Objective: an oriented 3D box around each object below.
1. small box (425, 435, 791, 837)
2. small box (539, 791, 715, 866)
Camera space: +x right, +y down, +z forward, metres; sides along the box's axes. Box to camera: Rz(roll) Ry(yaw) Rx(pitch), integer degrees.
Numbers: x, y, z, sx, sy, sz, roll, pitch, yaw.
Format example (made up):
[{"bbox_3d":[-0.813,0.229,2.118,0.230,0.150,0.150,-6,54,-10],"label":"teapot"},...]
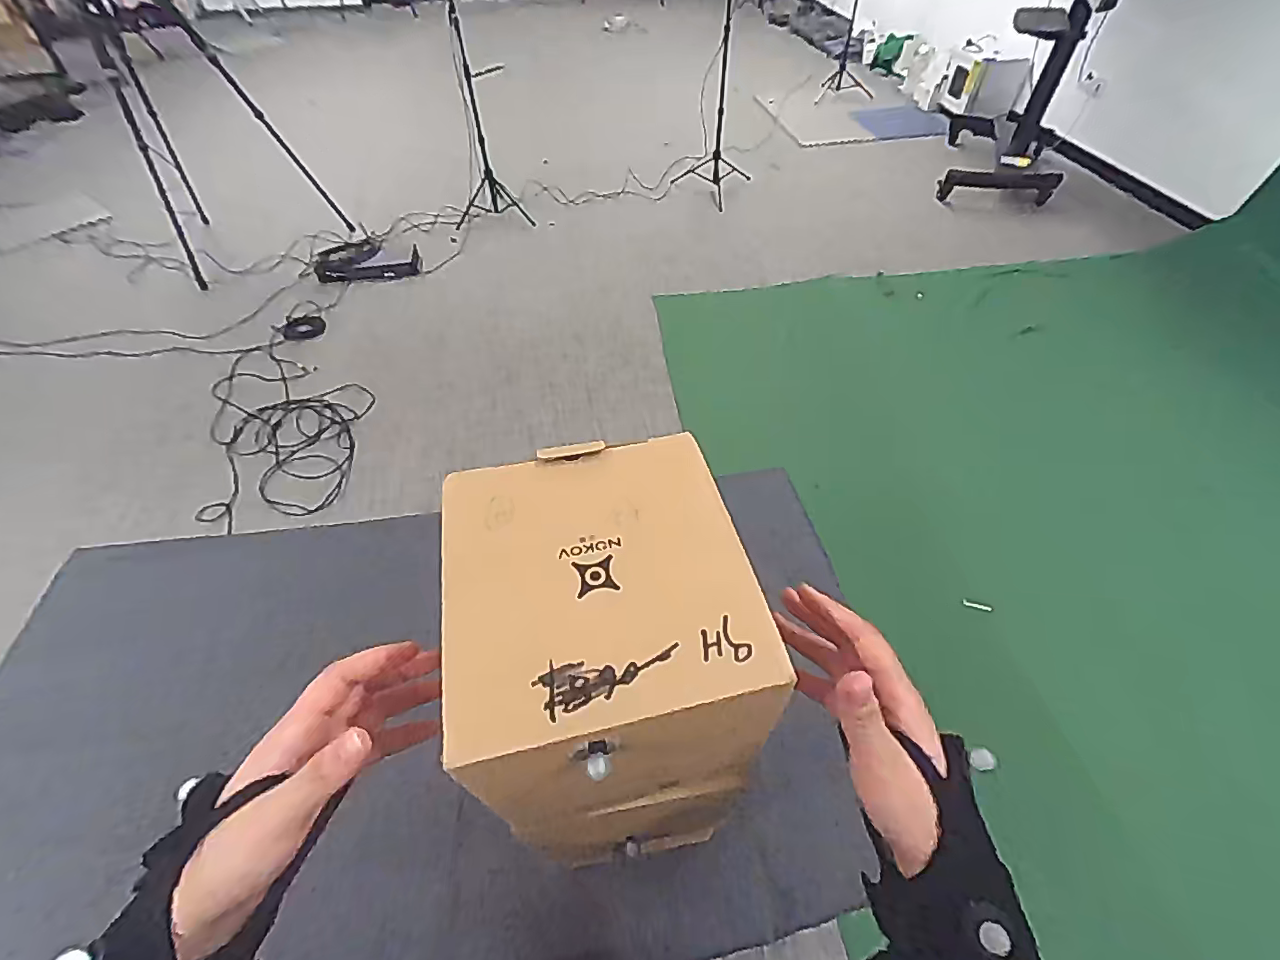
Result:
[{"bbox_3d":[-0.027,0.099,0.349,0.168,0.176,0.179,-11,50,-7],"label":"small box"},{"bbox_3d":[-0.020,0.310,0.601,0.168,0.176,0.179,-8,50,-6],"label":"small box"}]
